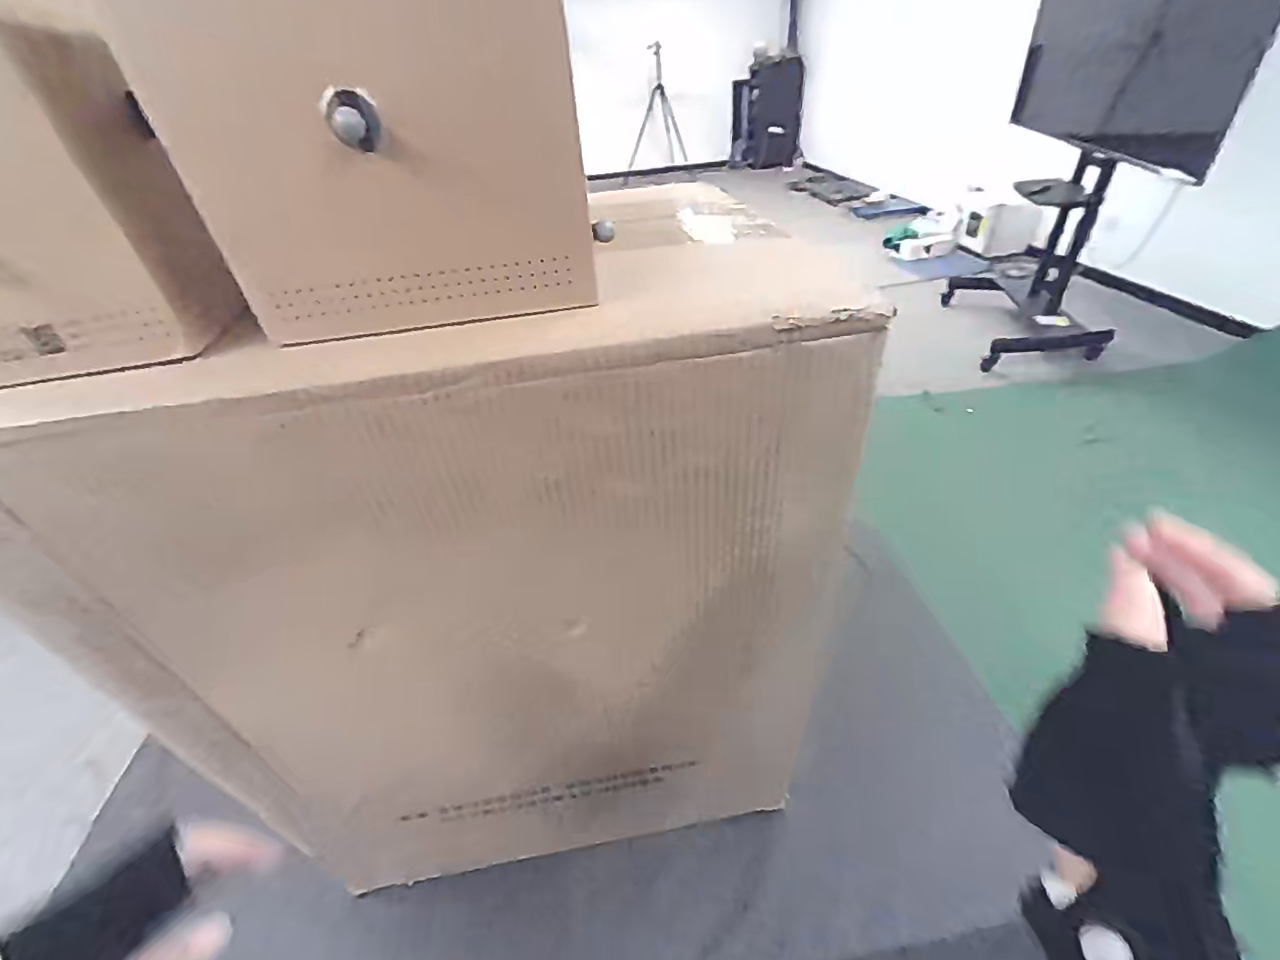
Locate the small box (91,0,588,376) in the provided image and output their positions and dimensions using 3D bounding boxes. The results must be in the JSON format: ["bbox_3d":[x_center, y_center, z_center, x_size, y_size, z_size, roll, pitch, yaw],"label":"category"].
[{"bbox_3d":[-0.126,-0.179,0.319,0.179,0.176,0.168,-8,39,-4],"label":"small box"}]
